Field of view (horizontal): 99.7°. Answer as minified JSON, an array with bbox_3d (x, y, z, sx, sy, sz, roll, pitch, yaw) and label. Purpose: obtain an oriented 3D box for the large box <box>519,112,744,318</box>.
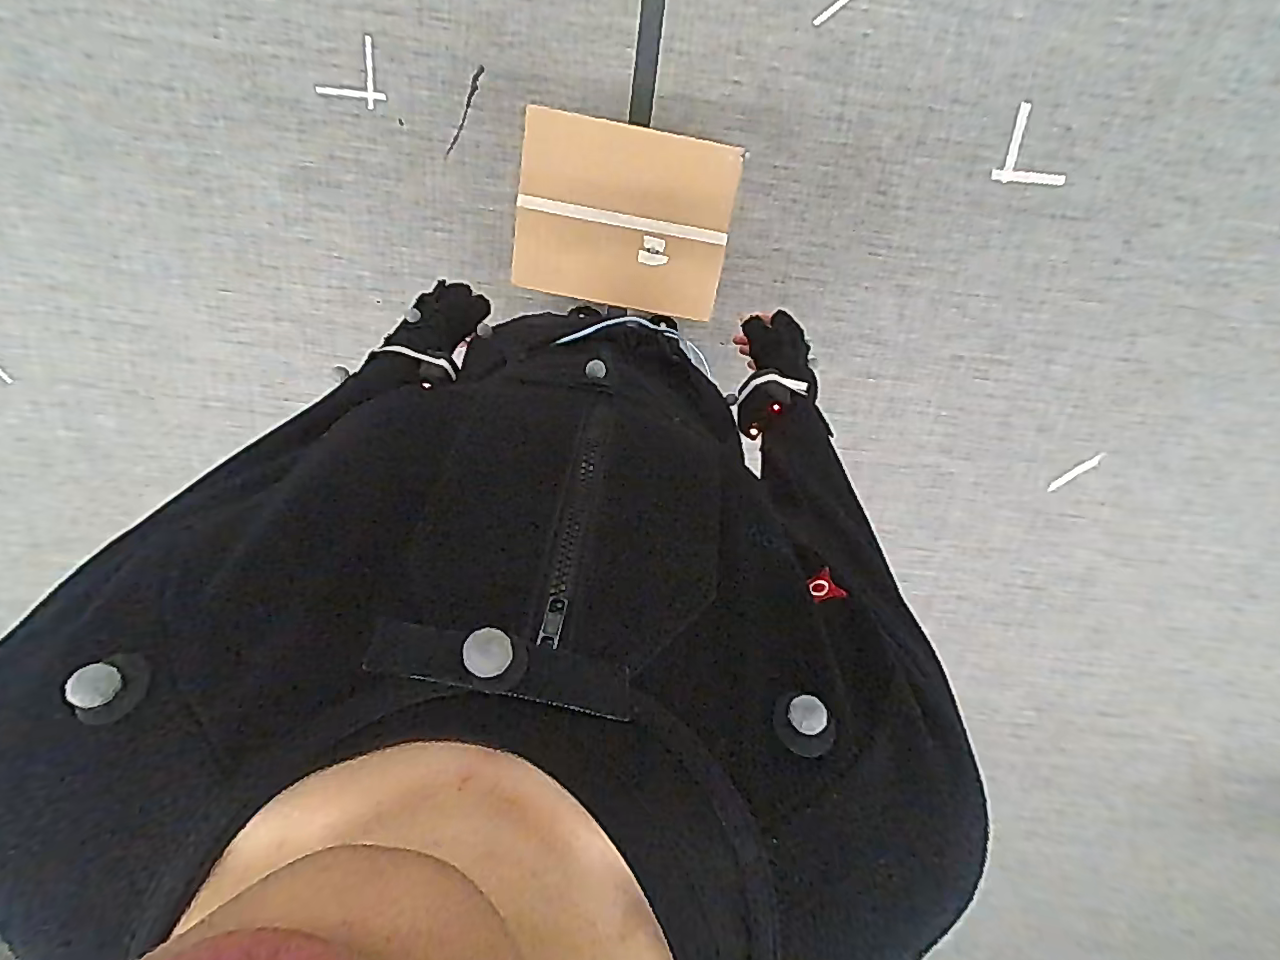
[{"bbox_3d":[-0.028,-0.551,1.185,0.408,0.320,0.320,9,110,-4],"label":"large box"}]
